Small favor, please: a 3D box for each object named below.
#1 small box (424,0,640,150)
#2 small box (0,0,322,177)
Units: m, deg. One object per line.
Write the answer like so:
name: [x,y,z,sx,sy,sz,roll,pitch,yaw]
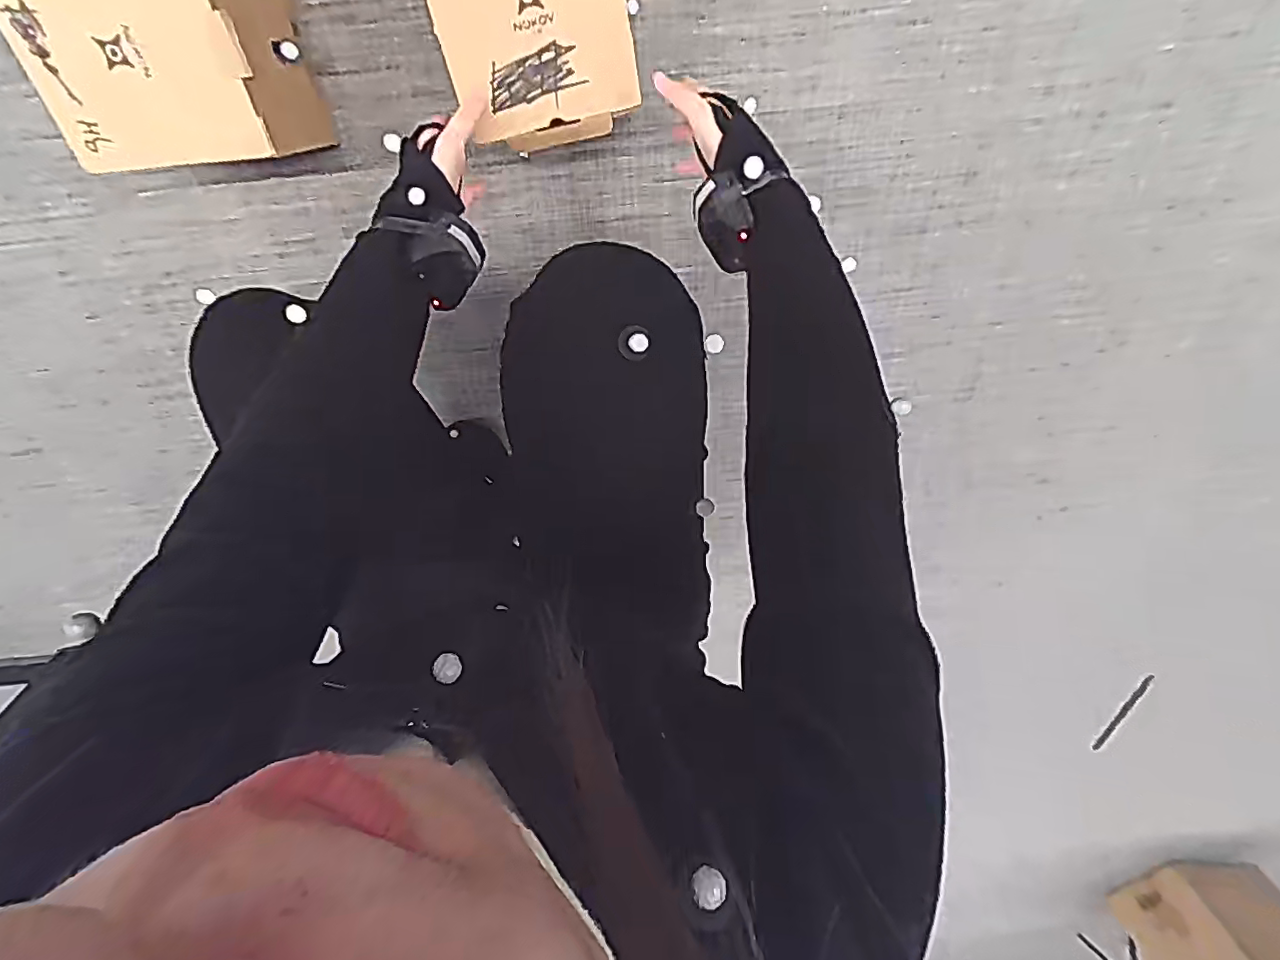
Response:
small box: [-0.097,-0.435,0.510,0.168,0.176,0.179,-11,125,3]
small box: [-0.431,-0.394,0.507,0.179,0.176,0.168,-6,126,-2]
